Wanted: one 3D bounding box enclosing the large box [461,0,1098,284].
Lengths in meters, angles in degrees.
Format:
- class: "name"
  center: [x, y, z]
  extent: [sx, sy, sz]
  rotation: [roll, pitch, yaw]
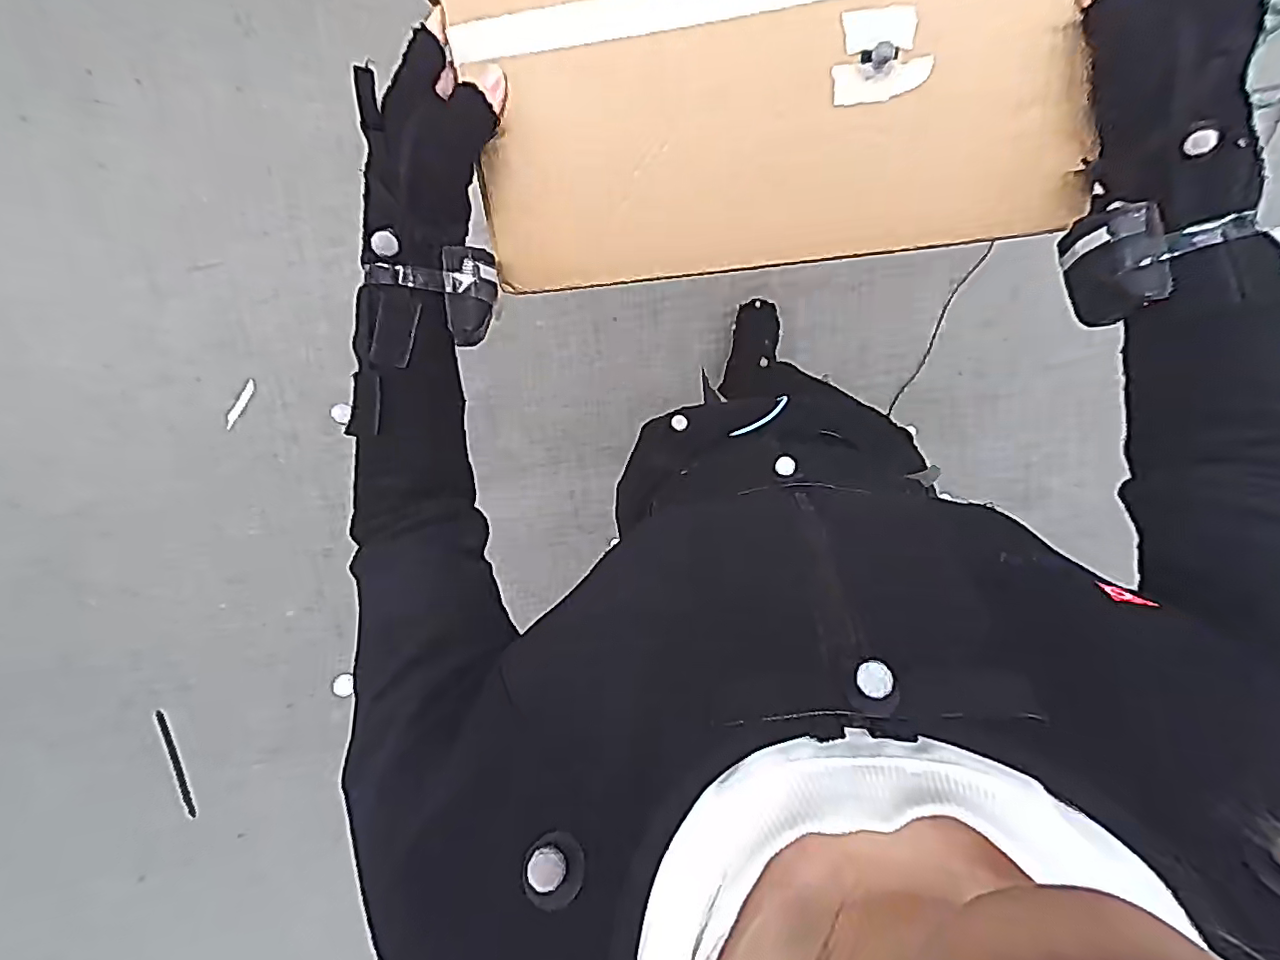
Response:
- class: "large box"
  center: [0.091, -0.367, 0.479]
  extent: [0.408, 0.320, 0.320]
  rotation: [-4, 112, 7]
